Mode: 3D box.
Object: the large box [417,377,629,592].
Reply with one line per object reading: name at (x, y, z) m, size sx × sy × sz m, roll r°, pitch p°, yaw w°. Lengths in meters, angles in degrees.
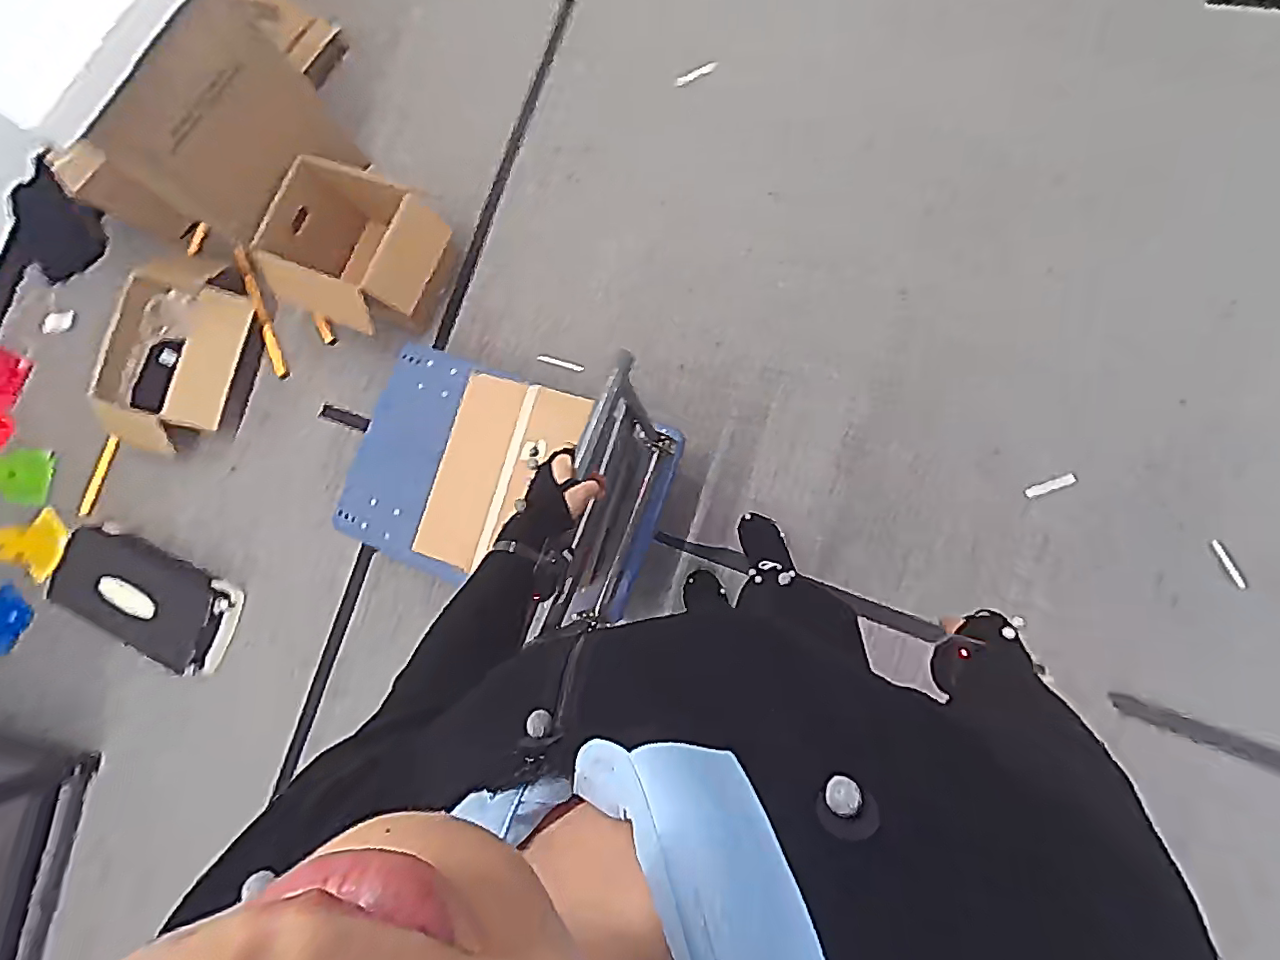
large box at (-0.247, 0.025, 1.265) m, size 0.320 × 0.320 × 0.408 m, roll 15°, pitch 83°, yaw 12°
